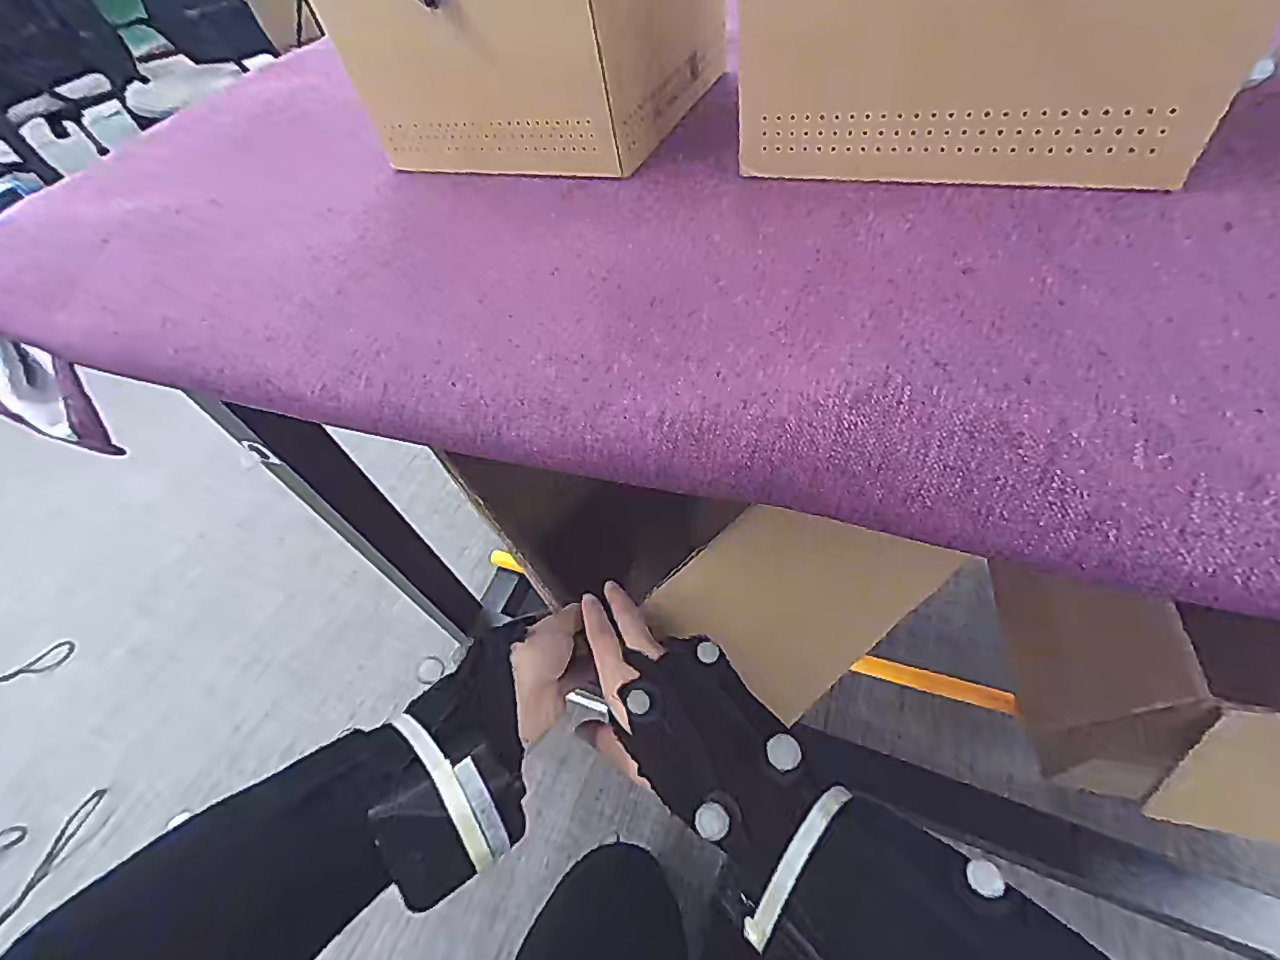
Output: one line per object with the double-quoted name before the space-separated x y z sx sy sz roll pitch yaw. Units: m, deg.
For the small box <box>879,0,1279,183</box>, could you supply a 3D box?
"small box" 0.195 -0.243 0.189 0.179 0.176 0.168 -5 90 14
